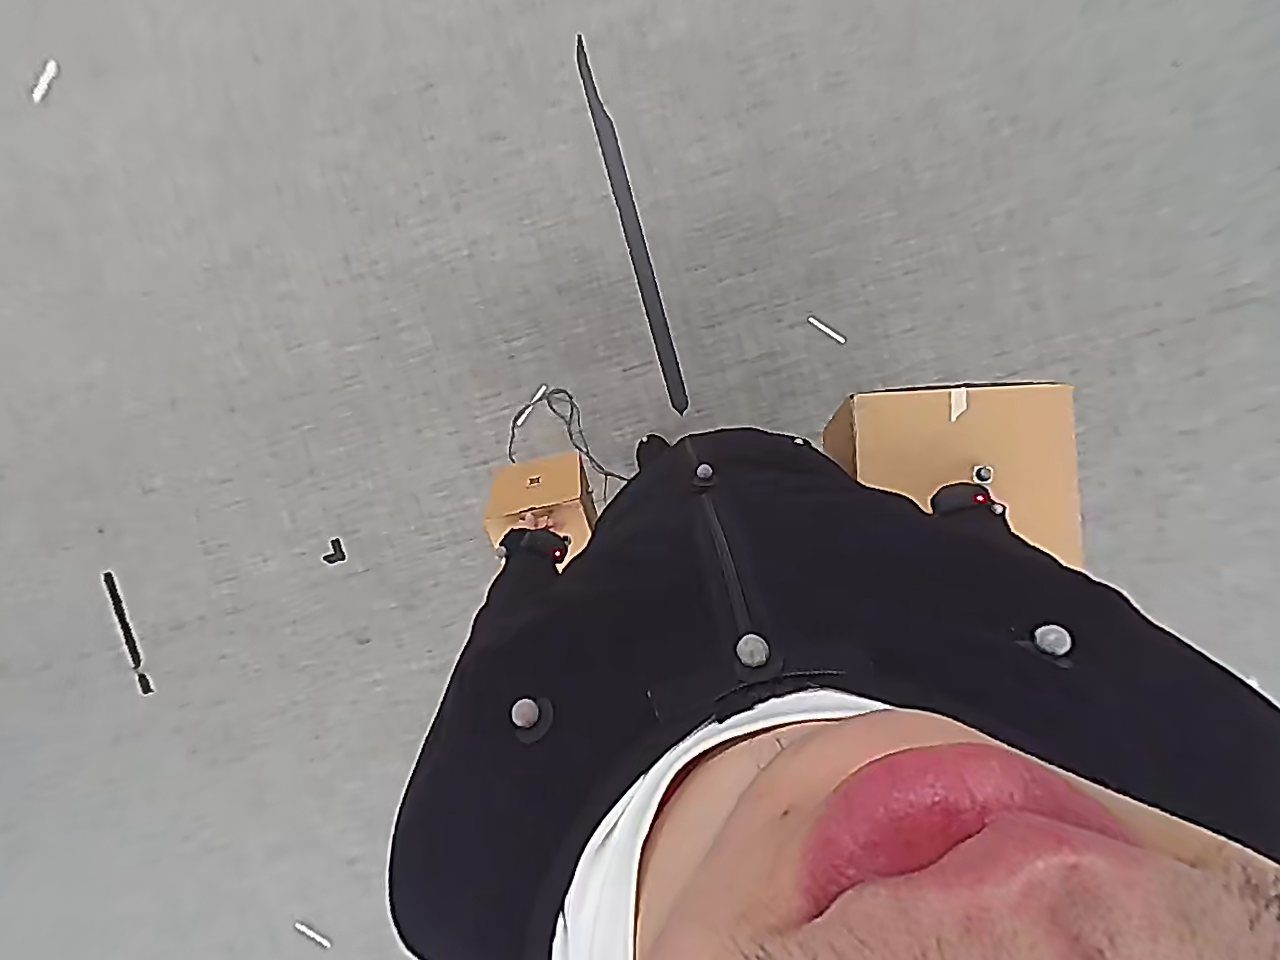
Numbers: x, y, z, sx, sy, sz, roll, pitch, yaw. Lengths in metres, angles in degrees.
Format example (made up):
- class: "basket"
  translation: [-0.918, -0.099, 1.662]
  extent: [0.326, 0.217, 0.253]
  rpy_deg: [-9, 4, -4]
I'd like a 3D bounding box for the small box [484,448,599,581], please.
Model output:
- class: "small box"
  translation: [-0.174, 0.068, 1.003]
  extent: [0.168, 0.179, 0.176]
  rpy_deg: [-12, 122, -1]
